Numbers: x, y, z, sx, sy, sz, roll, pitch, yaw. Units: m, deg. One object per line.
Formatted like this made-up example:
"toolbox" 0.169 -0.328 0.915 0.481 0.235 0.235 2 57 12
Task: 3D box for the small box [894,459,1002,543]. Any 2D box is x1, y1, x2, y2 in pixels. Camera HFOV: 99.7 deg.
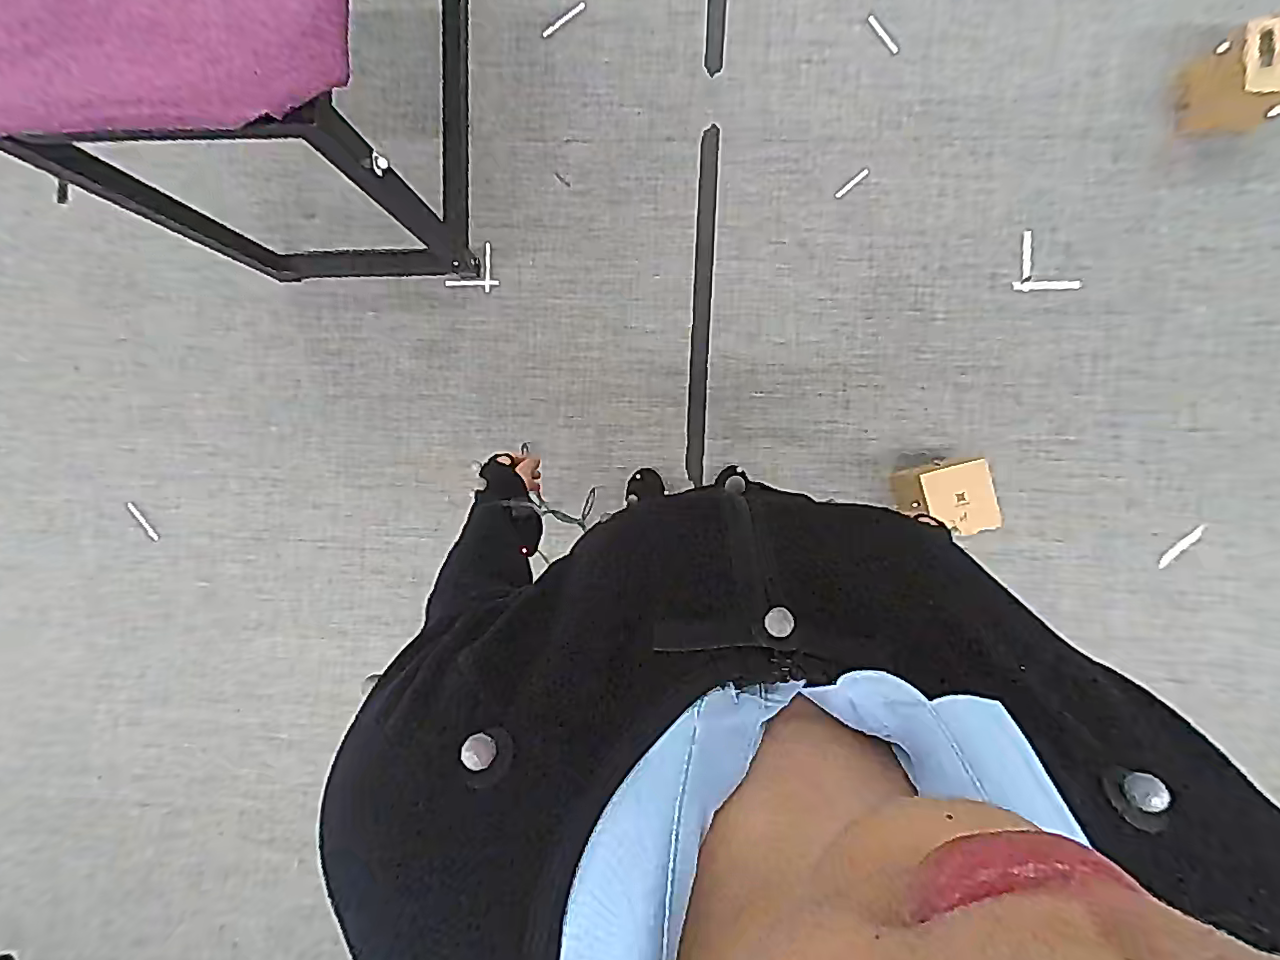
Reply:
"small box" 0.783 0.051 1.392 0.168 0.176 0.179 -14 91 3
